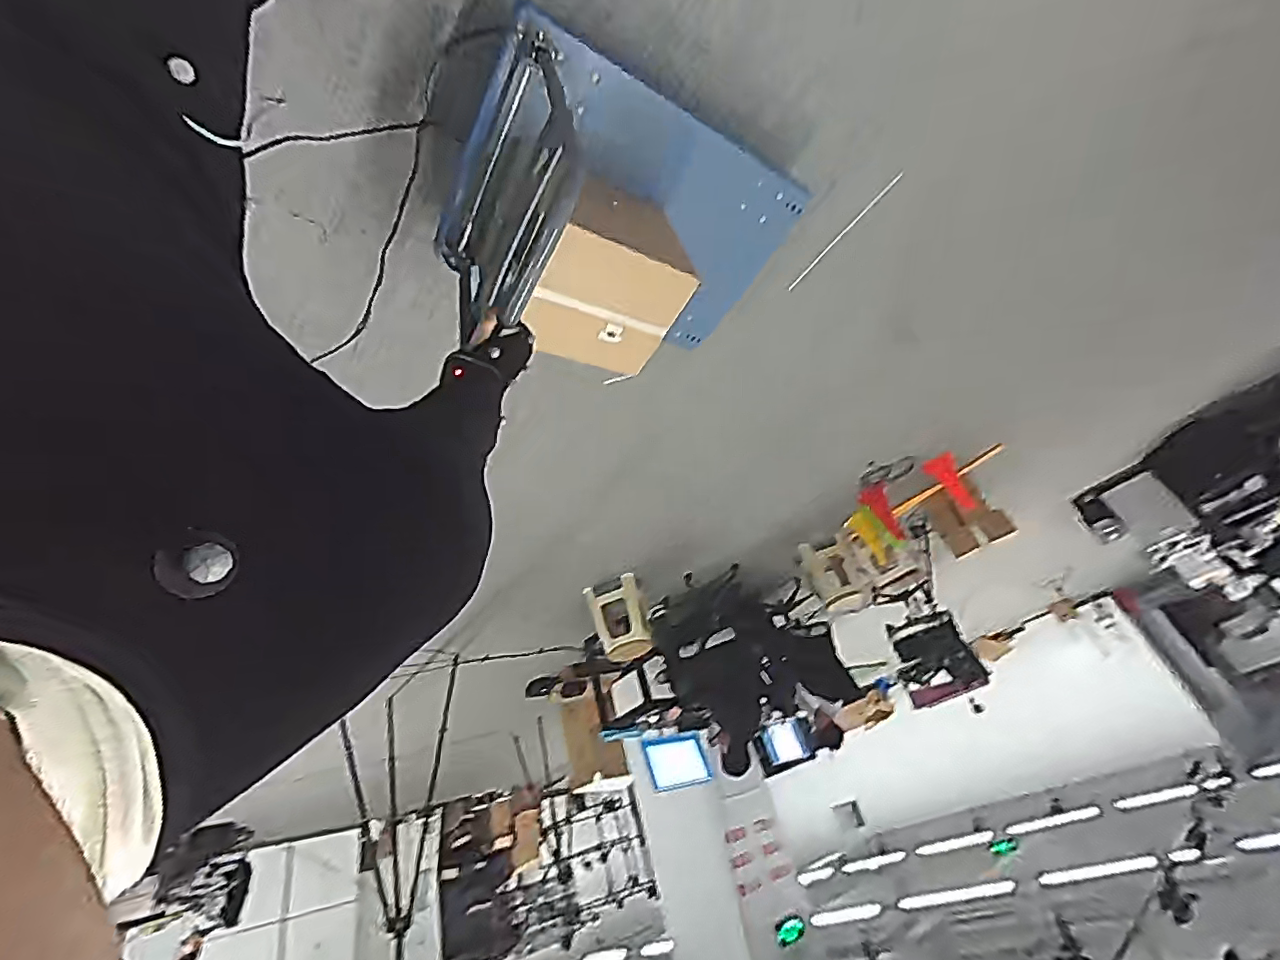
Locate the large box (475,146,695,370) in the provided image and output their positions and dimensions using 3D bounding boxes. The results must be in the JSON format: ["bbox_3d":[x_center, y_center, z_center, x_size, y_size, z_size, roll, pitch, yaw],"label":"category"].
[{"bbox_3d":[-0.149,-0.522,1.317,0.408,0.320,0.320,8,139,-34],"label":"large box"}]
